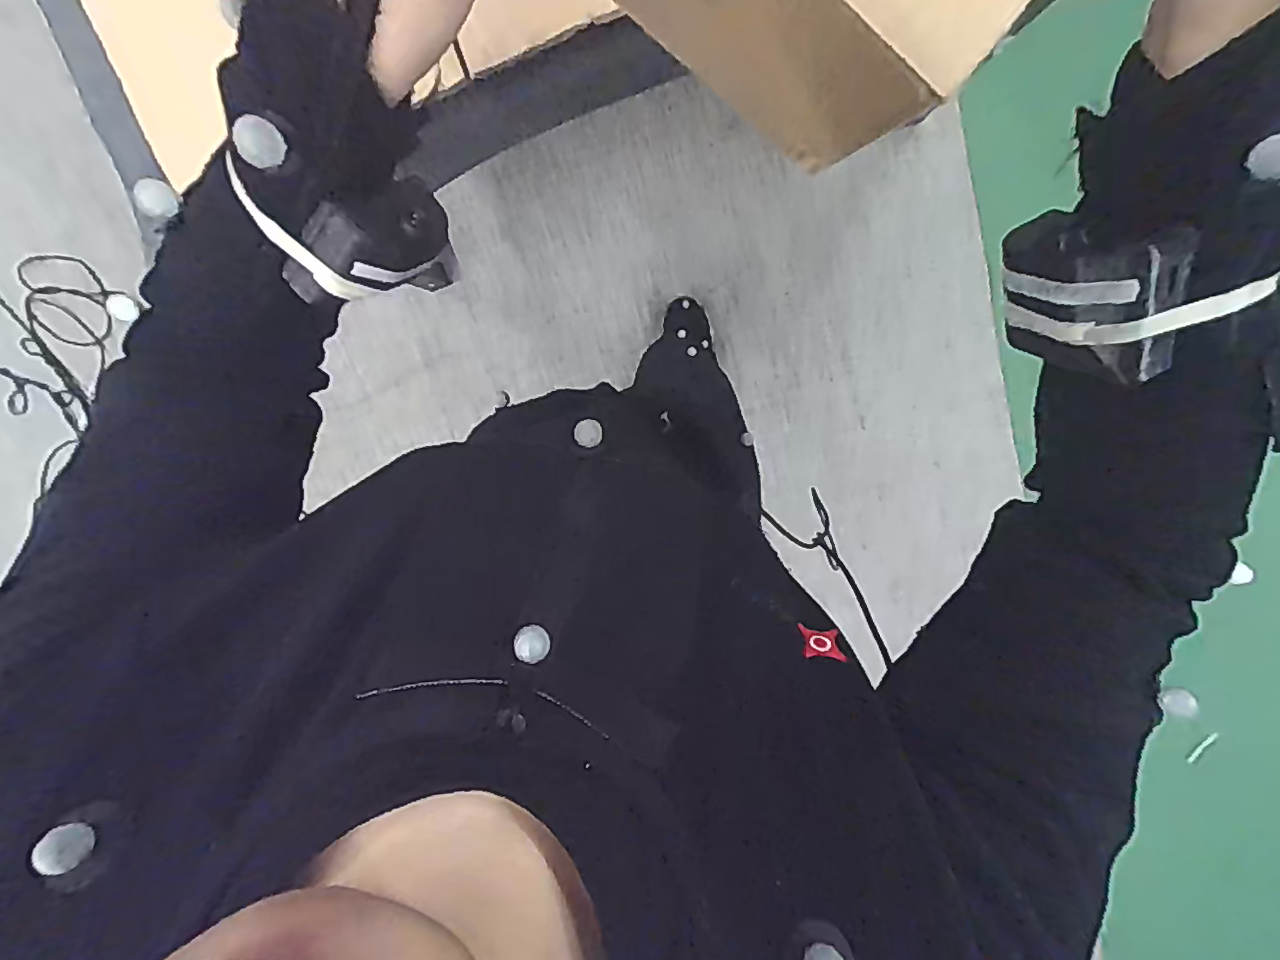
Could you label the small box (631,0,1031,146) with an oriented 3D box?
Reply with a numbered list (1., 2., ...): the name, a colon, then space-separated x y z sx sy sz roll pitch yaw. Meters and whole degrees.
1. small box: 0.072 -0.247 0.182 0.179 0.176 0.168 35 111 -10
